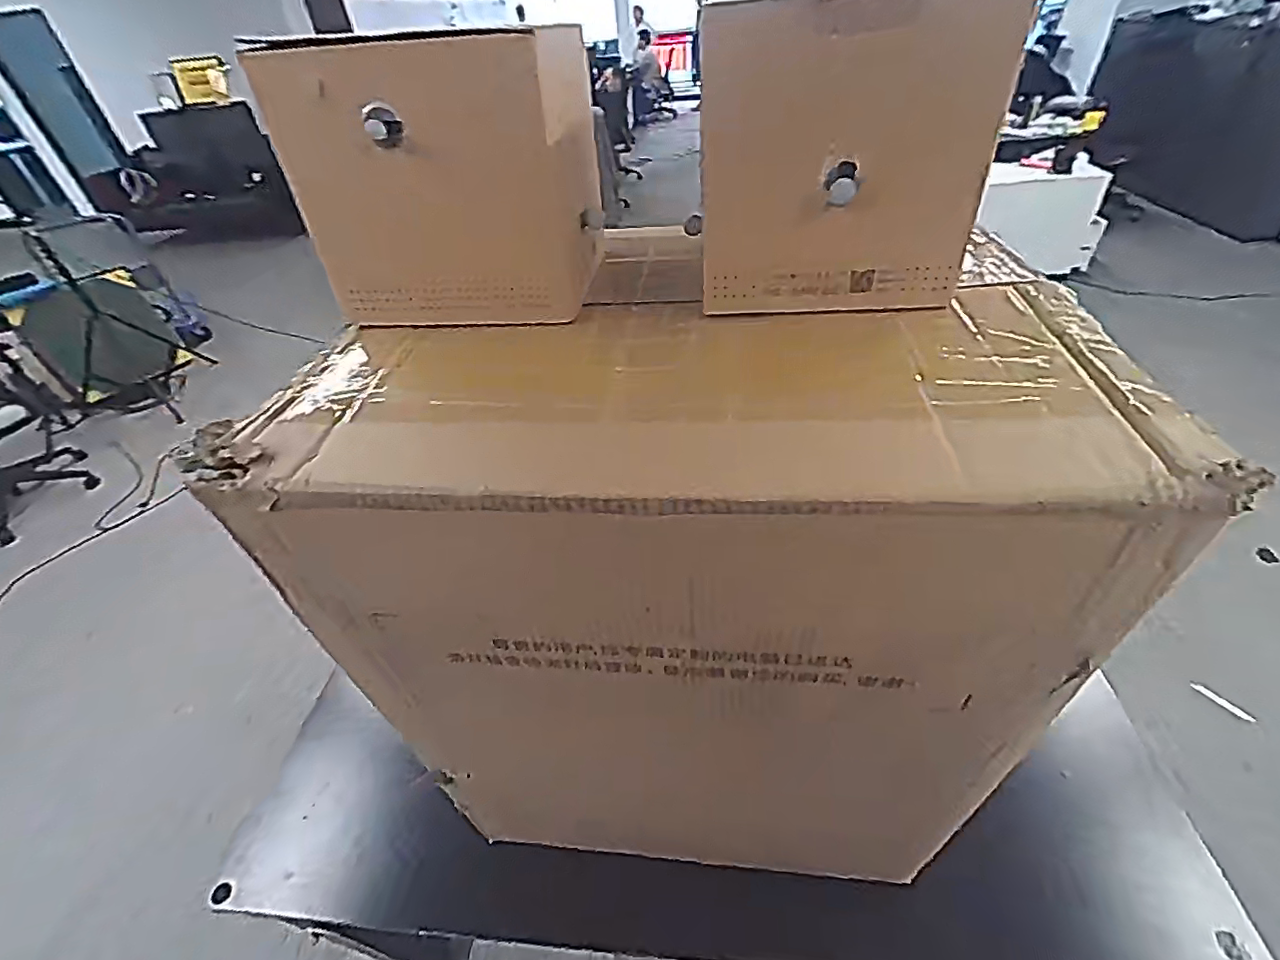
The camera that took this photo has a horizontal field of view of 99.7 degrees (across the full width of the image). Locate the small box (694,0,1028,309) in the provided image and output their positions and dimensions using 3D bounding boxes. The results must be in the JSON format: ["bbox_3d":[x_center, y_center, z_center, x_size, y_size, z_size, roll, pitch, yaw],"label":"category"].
[{"bbox_3d":[0.127,-0.229,0.379,0.168,0.176,0.179,0,40,9],"label":"small box"}]

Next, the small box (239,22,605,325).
[{"bbox_3d":[-0.130,-0.226,0.406,0.179,0.176,0.168,1,40,6],"label":"small box"}]
